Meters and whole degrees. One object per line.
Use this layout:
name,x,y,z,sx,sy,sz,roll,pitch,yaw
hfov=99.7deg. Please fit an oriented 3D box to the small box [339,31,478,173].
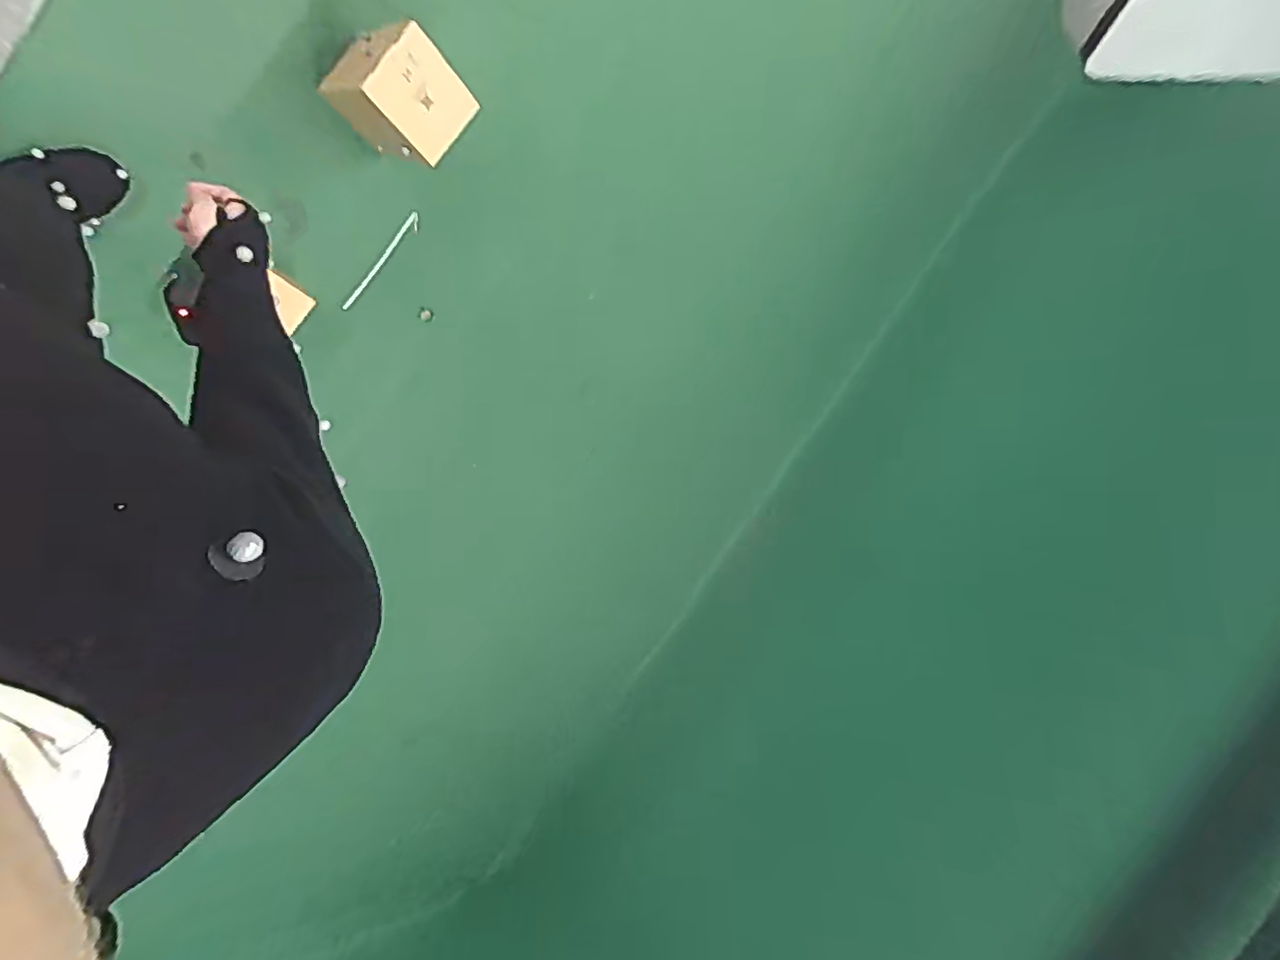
small box,-0.479,-0.775,1.117,0.168,0.176,0.179,-54,140,-3

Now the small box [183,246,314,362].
small box,-0.890,-0.403,1.229,0.168,0.176,0.179,-53,139,-1
